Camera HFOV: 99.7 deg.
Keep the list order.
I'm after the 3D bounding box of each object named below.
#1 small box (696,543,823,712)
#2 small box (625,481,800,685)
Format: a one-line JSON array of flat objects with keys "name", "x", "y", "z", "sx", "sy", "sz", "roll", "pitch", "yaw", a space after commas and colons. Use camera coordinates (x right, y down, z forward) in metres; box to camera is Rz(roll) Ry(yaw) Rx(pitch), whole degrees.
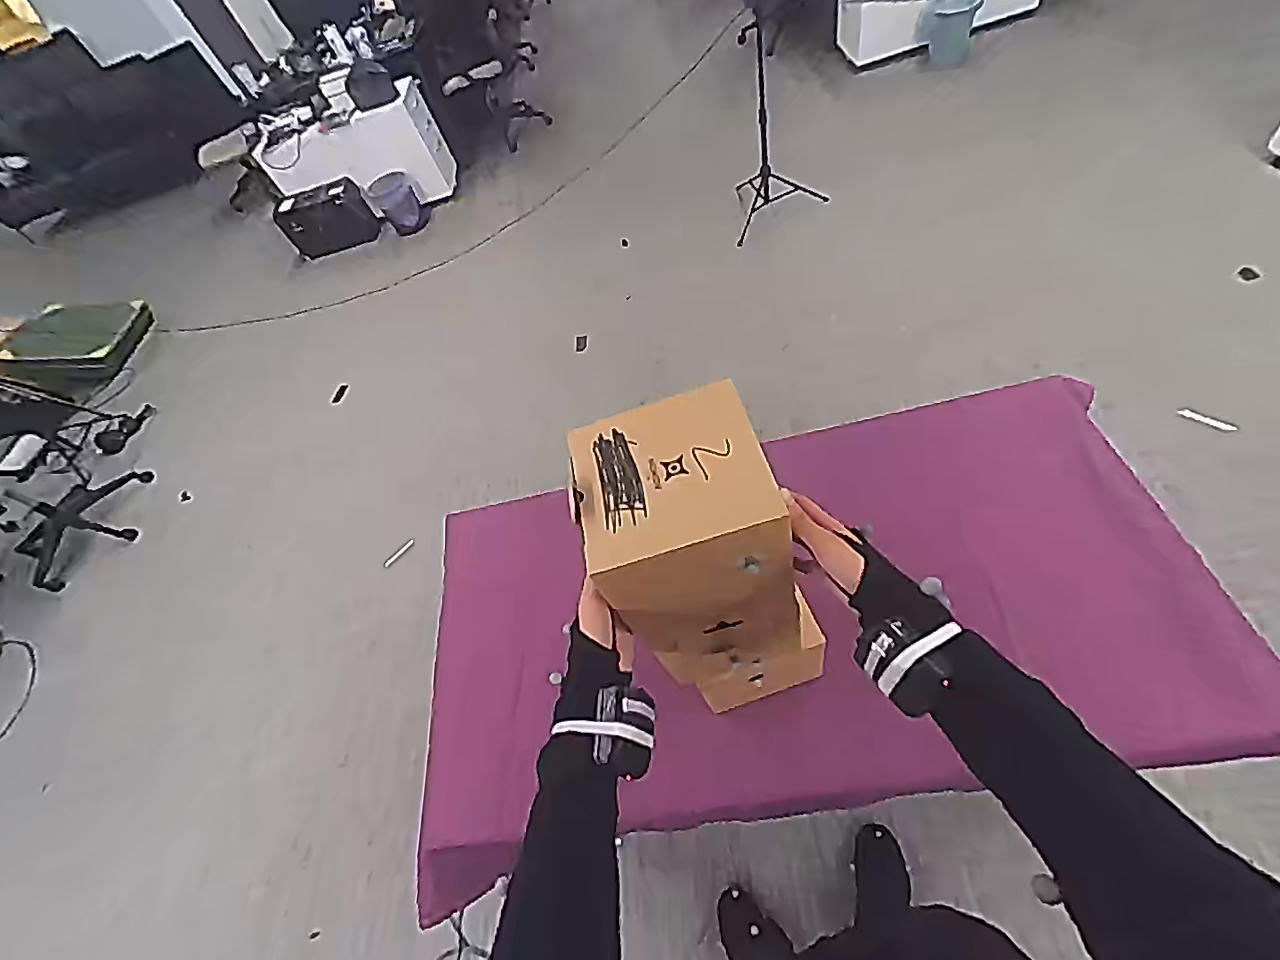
[{"name": "small box", "x": 0.154, "y": 0.224, "z": 0.803, "sx": 0.179, "sy": 0.176, "sz": 0.168, "roll": -21, "pitch": 54, "yaw": 1}, {"name": "small box", "x": 0.092, "y": 0.134, "z": 0.678, "sx": 0.168, "sy": 0.176, "sz": 0.179, "roll": -18, "pitch": 53, "yaw": 6}]
